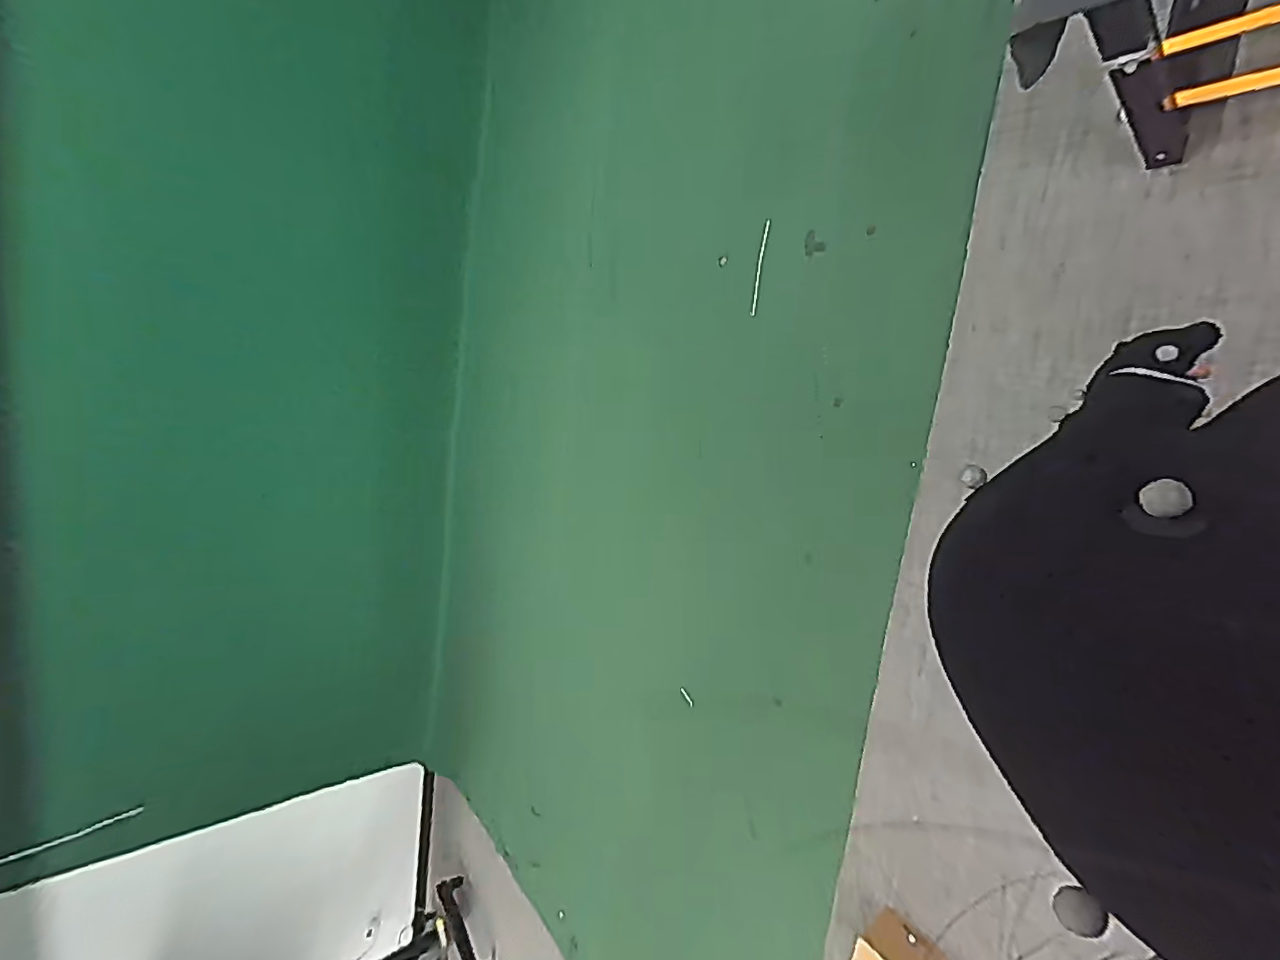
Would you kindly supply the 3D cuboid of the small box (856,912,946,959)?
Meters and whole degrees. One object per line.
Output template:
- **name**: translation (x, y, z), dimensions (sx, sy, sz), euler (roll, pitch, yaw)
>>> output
- **small box**: translation (0.673, 1.293, 1.405), dimensions (0.168, 0.176, 0.179), euler (22, 104, 47)
